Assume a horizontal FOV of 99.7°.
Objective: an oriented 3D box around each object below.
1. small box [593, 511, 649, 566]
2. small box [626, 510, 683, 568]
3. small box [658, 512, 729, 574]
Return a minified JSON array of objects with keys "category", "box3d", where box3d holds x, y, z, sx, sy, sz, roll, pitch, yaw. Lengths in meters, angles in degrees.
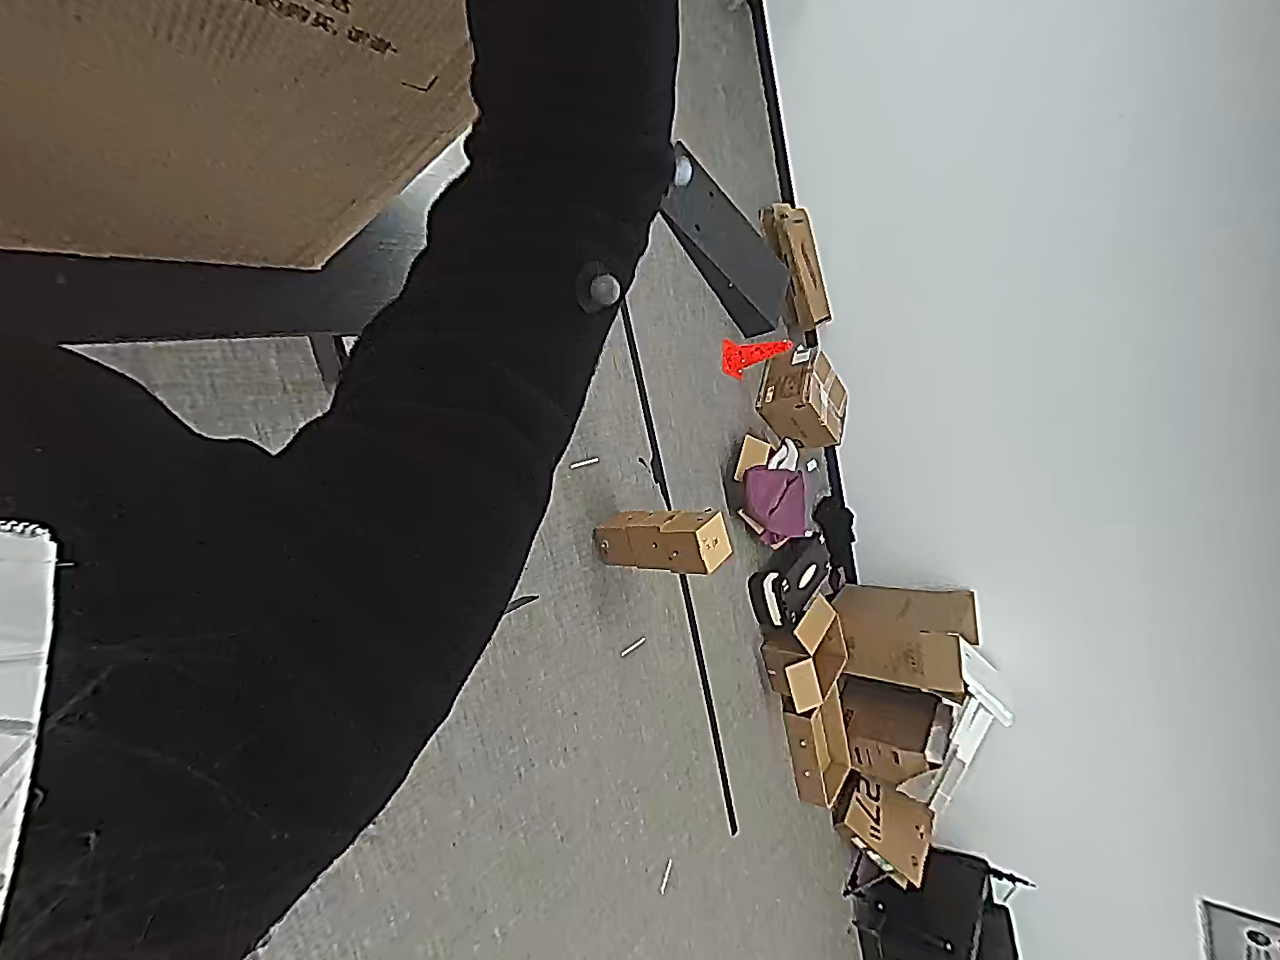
[{"category":"small box","box3d":[-0.058,0.231,2.156,0.179,0.176,0.168,-29,107,-45]},{"category":"small box","box3d":[0.068,0.224,2.051,0.168,0.176,0.179,-27,106,-47]},{"category":"small box","box3d":[0.191,0.221,1.941,0.179,0.176,0.168,-32,109,-46]}]
